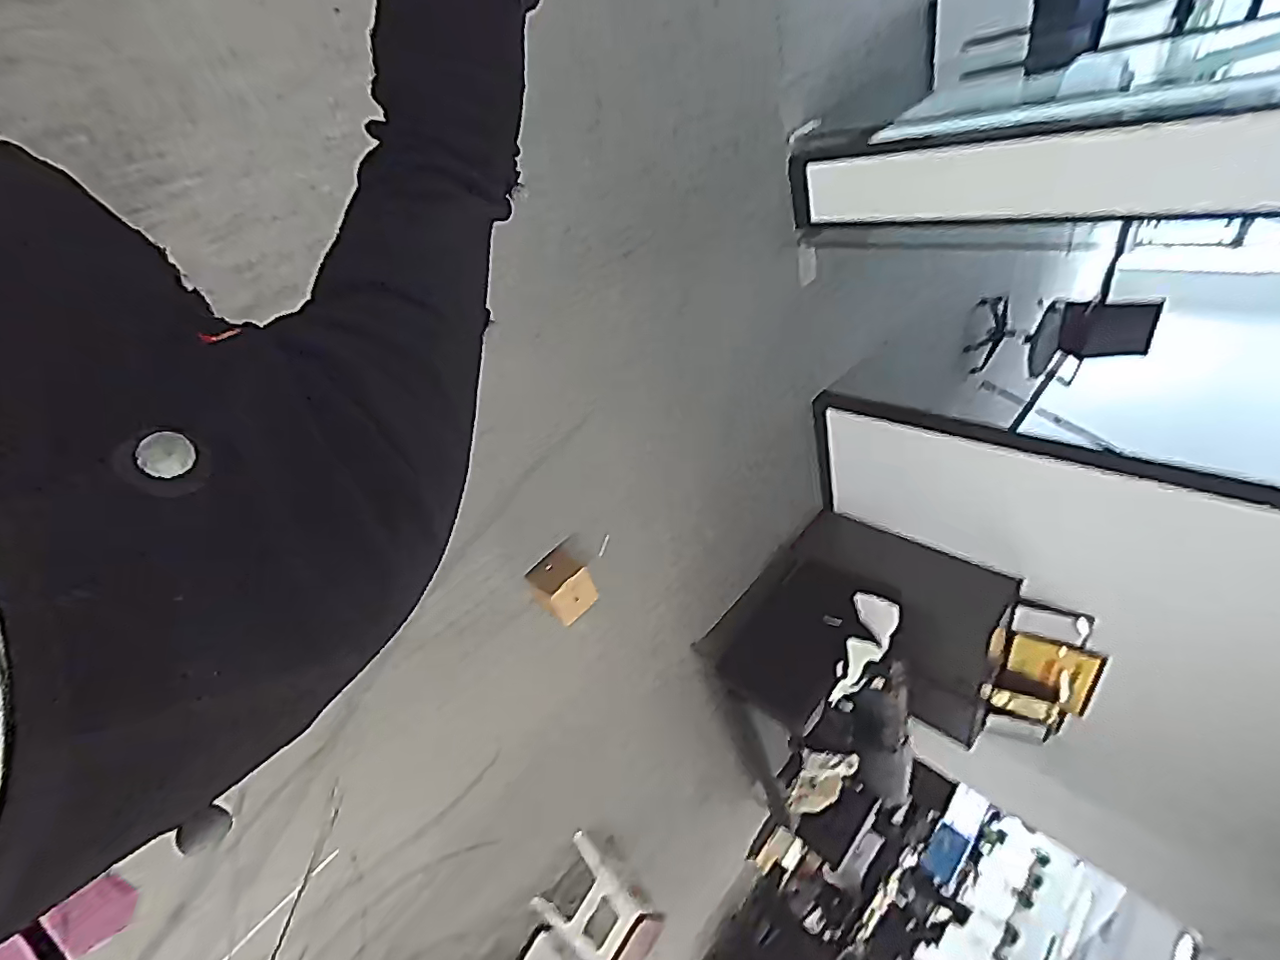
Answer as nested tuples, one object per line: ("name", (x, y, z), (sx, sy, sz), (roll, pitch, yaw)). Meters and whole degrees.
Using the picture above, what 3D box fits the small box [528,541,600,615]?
("small box", (-0.280, 0.354, 1.986), (0.168, 0.176, 0.179), (-41, 132, -25))
